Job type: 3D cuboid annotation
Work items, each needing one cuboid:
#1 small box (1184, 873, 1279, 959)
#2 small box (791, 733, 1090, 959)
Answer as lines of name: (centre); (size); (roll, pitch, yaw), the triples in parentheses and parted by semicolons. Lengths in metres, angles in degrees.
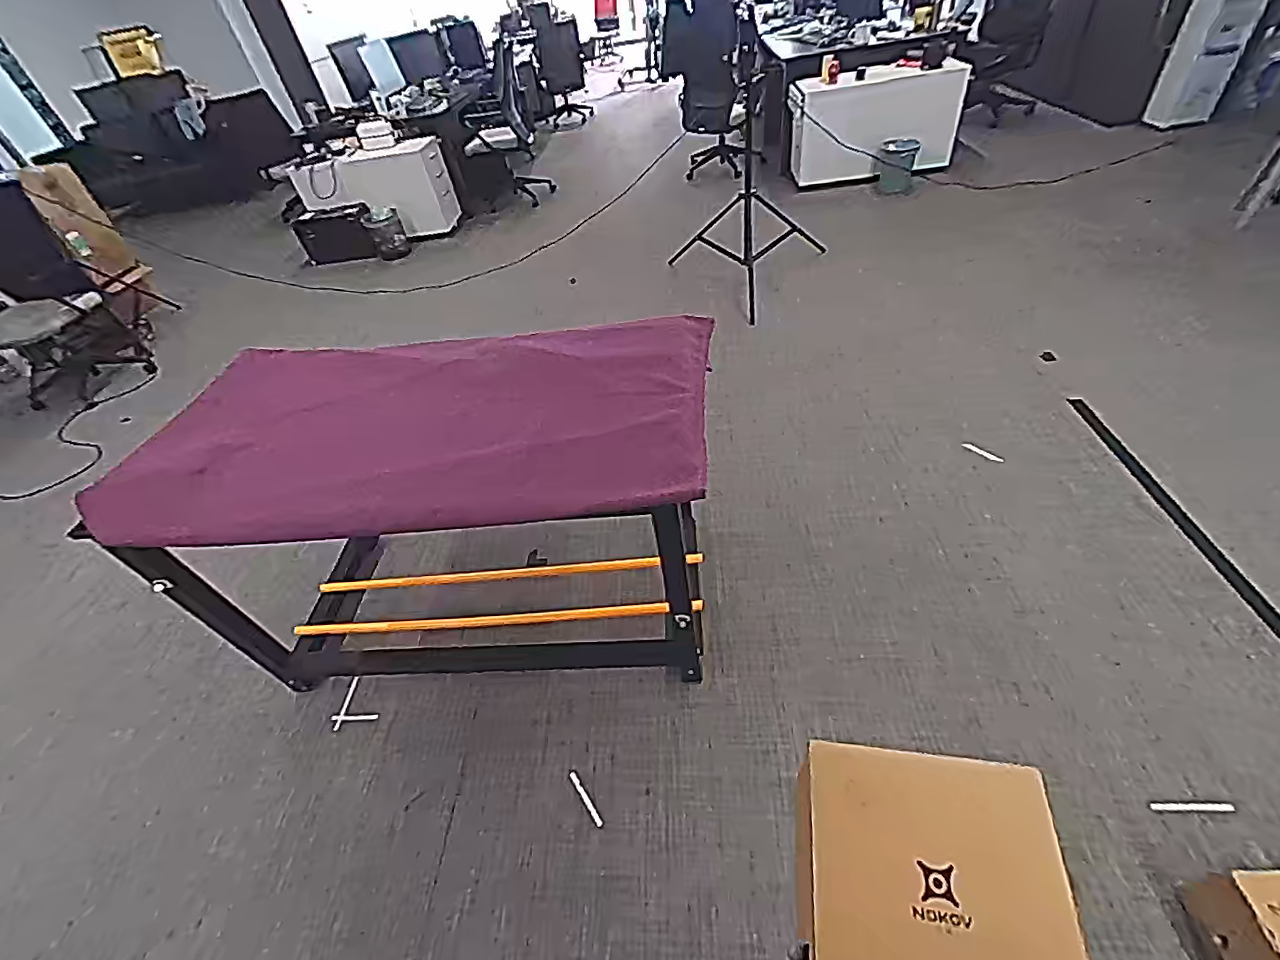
small box: (1.080, 0.761, 0.888); (0.179, 0.176, 0.168); (-5, 44, 7)
small box: (0.209, 0.321, 0.421); (0.168, 0.176, 0.179); (1, 51, 12)
